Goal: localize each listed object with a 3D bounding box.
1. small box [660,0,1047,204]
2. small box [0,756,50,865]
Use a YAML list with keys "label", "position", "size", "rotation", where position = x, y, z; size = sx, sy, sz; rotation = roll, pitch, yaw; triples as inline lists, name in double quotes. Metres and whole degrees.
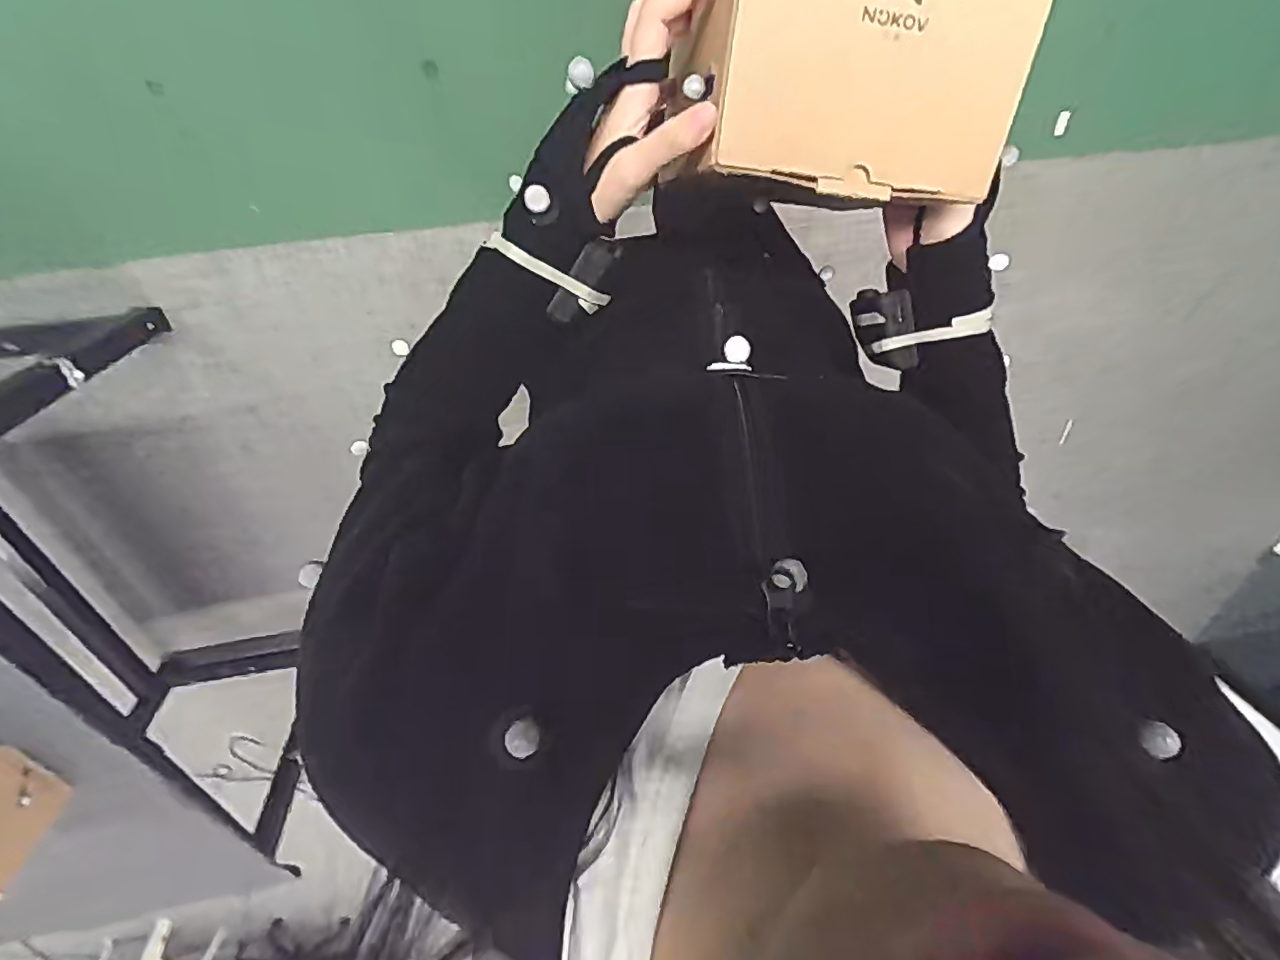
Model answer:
- label: "small box"
  position: [0.113, -0.278, 0.333]
  size: [0.168, 0.176, 0.179]
  rotation: [1, 116, -11]
- label: "small box"
  position: [-1.107, 0.551, 0.833]
  size: [0.179, 0.176, 0.168]
  rotation: [-8, 126, -6]
